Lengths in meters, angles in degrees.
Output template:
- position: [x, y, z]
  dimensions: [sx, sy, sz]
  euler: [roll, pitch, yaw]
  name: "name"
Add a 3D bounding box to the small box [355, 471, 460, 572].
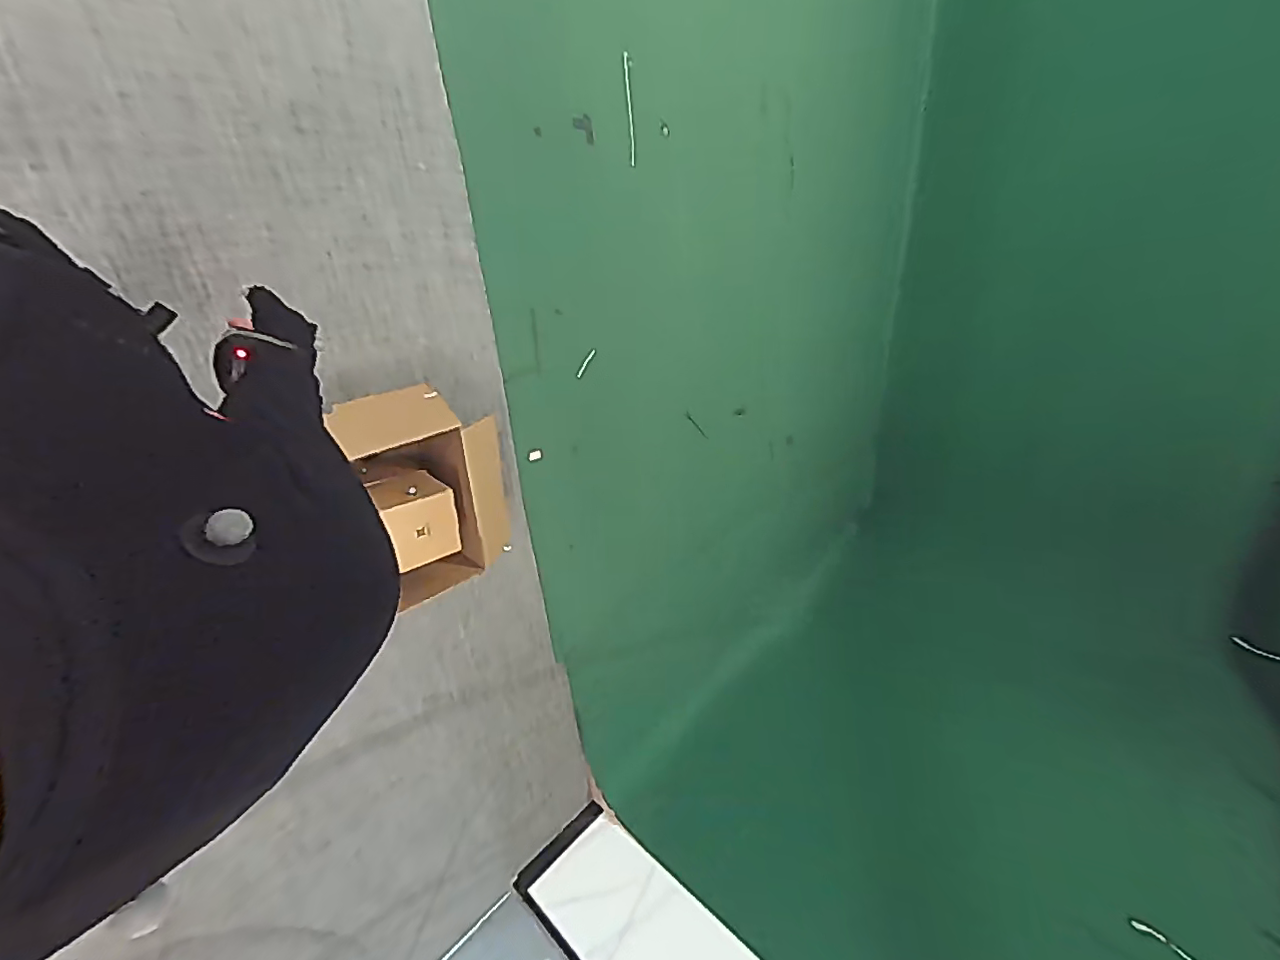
- position: [-0.564, 0.093, 1.306]
  dimensions: [0.179, 0.176, 0.168]
  euler: [-23, 121, -41]
  name: "small box"
